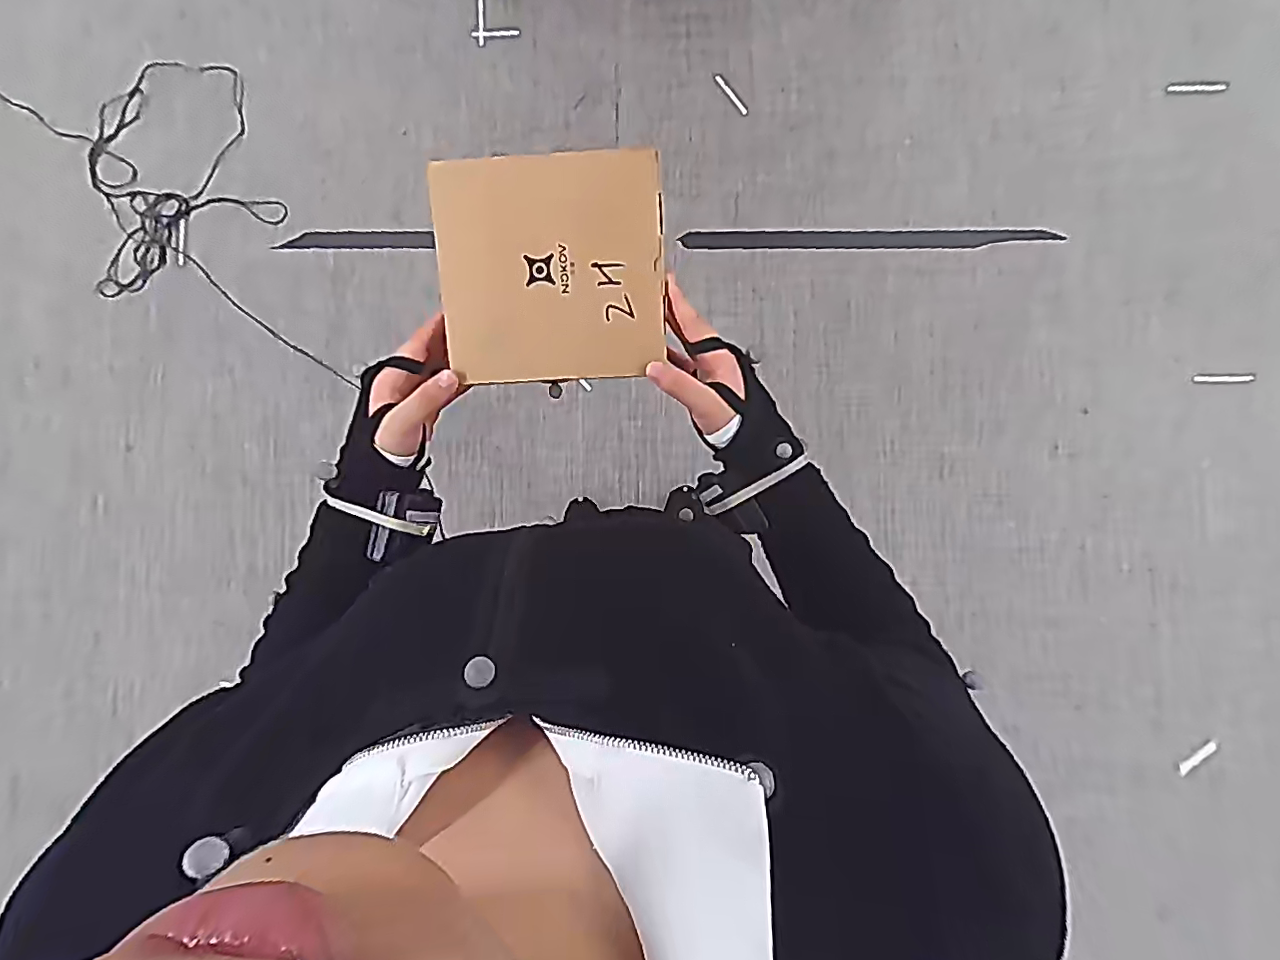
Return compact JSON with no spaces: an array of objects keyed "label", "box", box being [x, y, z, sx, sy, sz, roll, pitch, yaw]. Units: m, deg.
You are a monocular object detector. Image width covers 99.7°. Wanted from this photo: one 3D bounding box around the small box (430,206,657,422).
[{"label":"small box","box":[-0.073,-0.144,0.509,0.179,0.176,0.168,-2,102,1]}]
